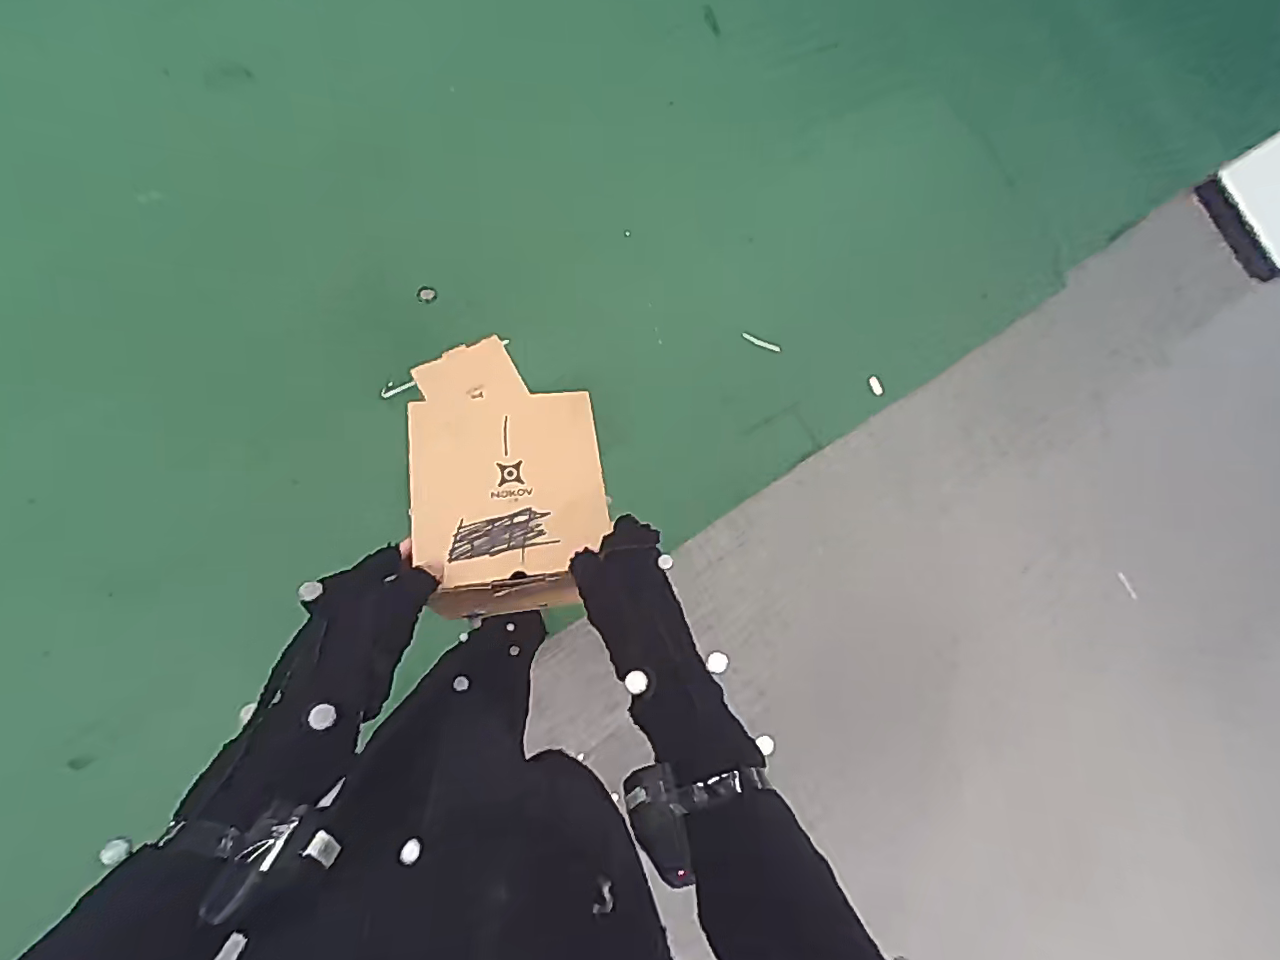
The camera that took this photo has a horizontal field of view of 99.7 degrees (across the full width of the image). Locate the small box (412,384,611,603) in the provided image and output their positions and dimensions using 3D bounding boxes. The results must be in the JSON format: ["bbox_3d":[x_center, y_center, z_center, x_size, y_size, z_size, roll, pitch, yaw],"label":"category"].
[{"bbox_3d":[-0.128,0.024,0.556,0.168,0.176,0.179,-6,69,-13],"label":"small box"}]

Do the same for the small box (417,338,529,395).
[{"bbox_3d":[-0.298,-0.133,1.027,0.168,0.176,0.179,-28,87,-17],"label":"small box"}]
